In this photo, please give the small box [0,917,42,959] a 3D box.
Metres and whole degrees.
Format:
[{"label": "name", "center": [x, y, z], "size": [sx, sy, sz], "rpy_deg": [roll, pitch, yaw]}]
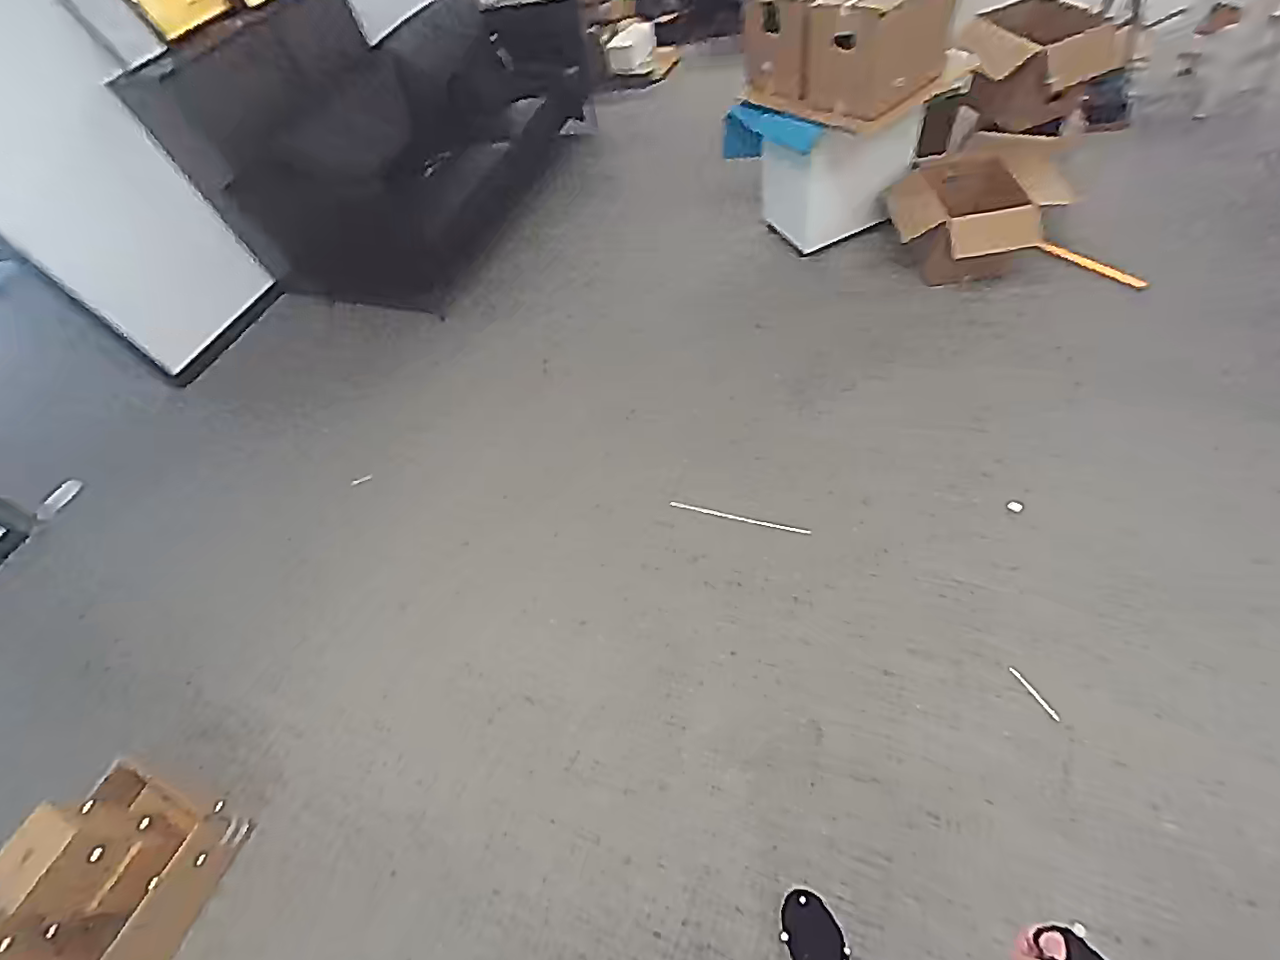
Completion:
[{"label": "small box", "center": [-1.497, 1.109, 1.194], "size": [0.168, 0.176, 0.179], "rpy_deg": [23, 62, 27]}]
